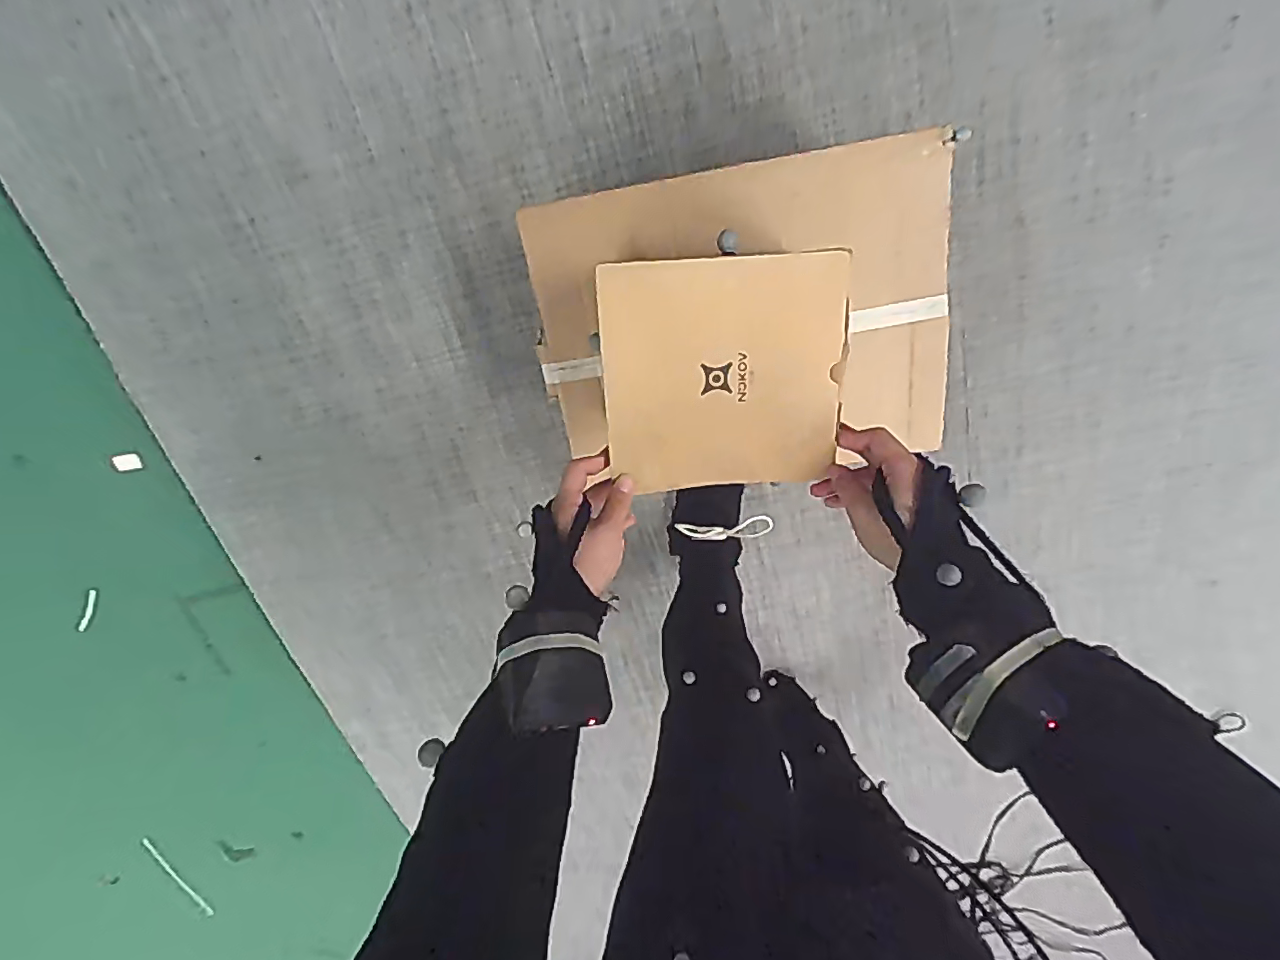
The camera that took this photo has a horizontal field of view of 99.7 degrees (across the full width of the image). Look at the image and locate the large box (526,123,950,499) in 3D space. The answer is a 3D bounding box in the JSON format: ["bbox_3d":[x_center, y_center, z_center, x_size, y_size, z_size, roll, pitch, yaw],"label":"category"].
[{"bbox_3d":[0.110,-0.204,0.692,0.408,0.320,0.320,-9,112,4],"label":"large box"}]

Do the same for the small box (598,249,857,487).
[{"bbox_3d":[0.063,-0.102,0.465,0.179,0.176,0.168,-3,111,1],"label":"small box"}]
